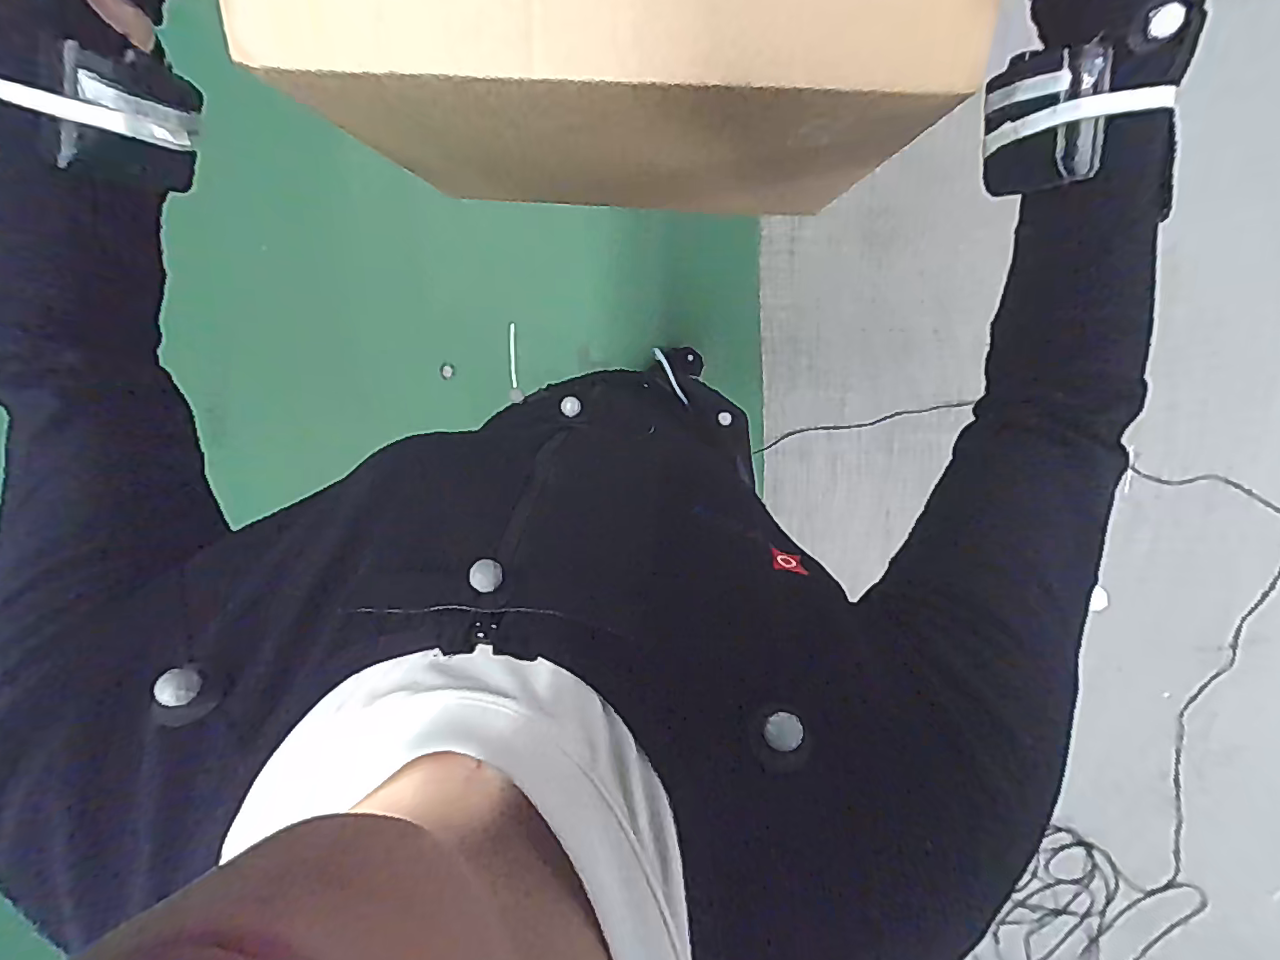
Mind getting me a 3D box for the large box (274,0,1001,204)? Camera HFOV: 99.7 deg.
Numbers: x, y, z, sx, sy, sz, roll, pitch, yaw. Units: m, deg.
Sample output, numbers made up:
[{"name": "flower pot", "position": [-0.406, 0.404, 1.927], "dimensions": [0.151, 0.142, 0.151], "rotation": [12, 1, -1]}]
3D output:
[{"name": "large box", "position": [0.004, -0.414, 0.406], "dimensions": [0.408, 0.320, 0.320], "rotation": [4, 106, 1]}]
